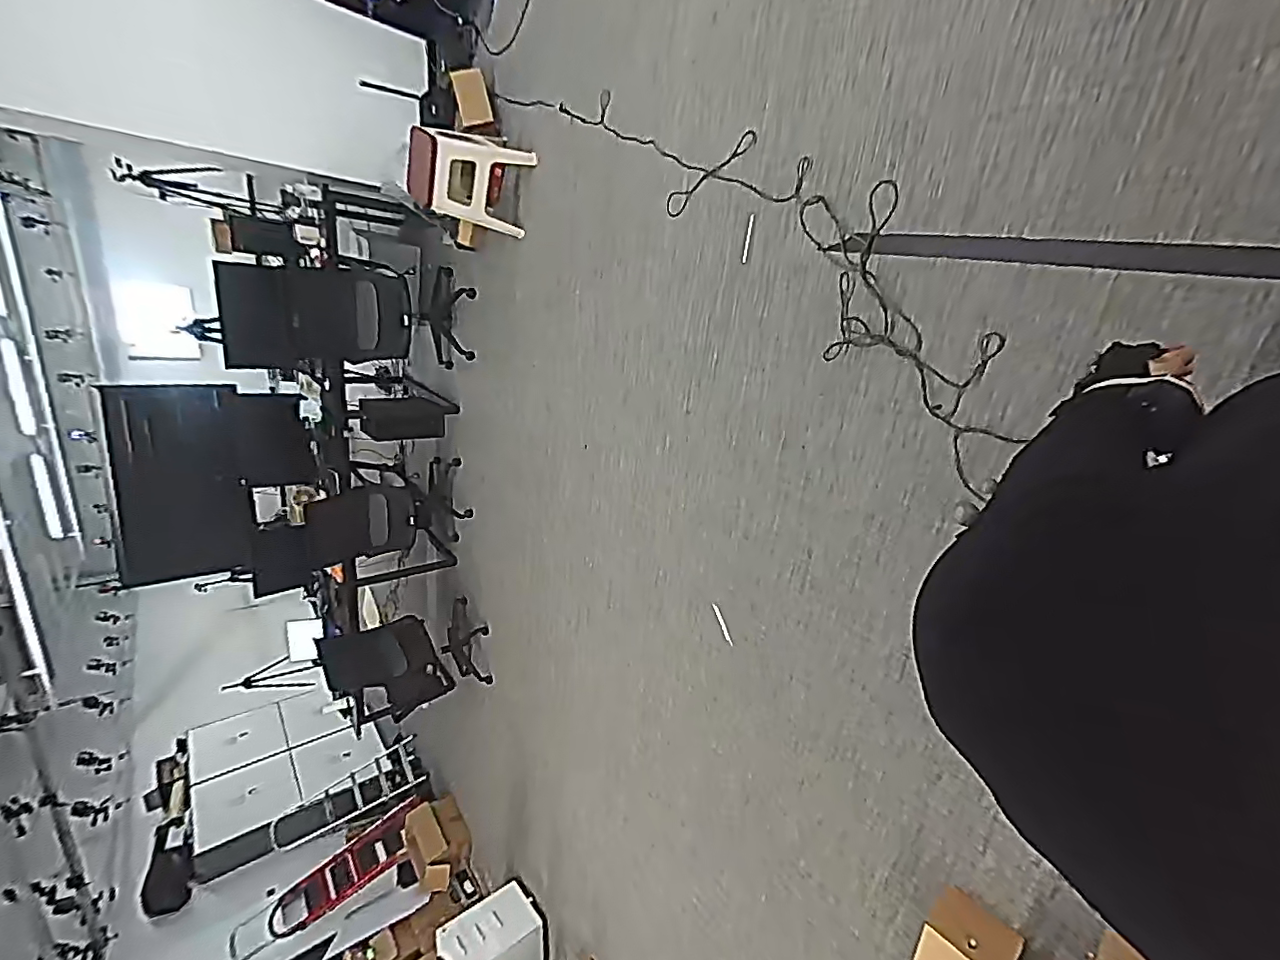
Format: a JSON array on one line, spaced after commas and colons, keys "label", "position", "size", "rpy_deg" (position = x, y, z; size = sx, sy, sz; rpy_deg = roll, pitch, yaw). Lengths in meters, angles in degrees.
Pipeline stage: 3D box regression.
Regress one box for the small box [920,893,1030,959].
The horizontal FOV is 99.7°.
[{"label": "small box", "position": [0.840, 1.194, 1.361], "size": [0.179, 0.176, 0.168], "rpy_deg": [22, 114, 46]}]
